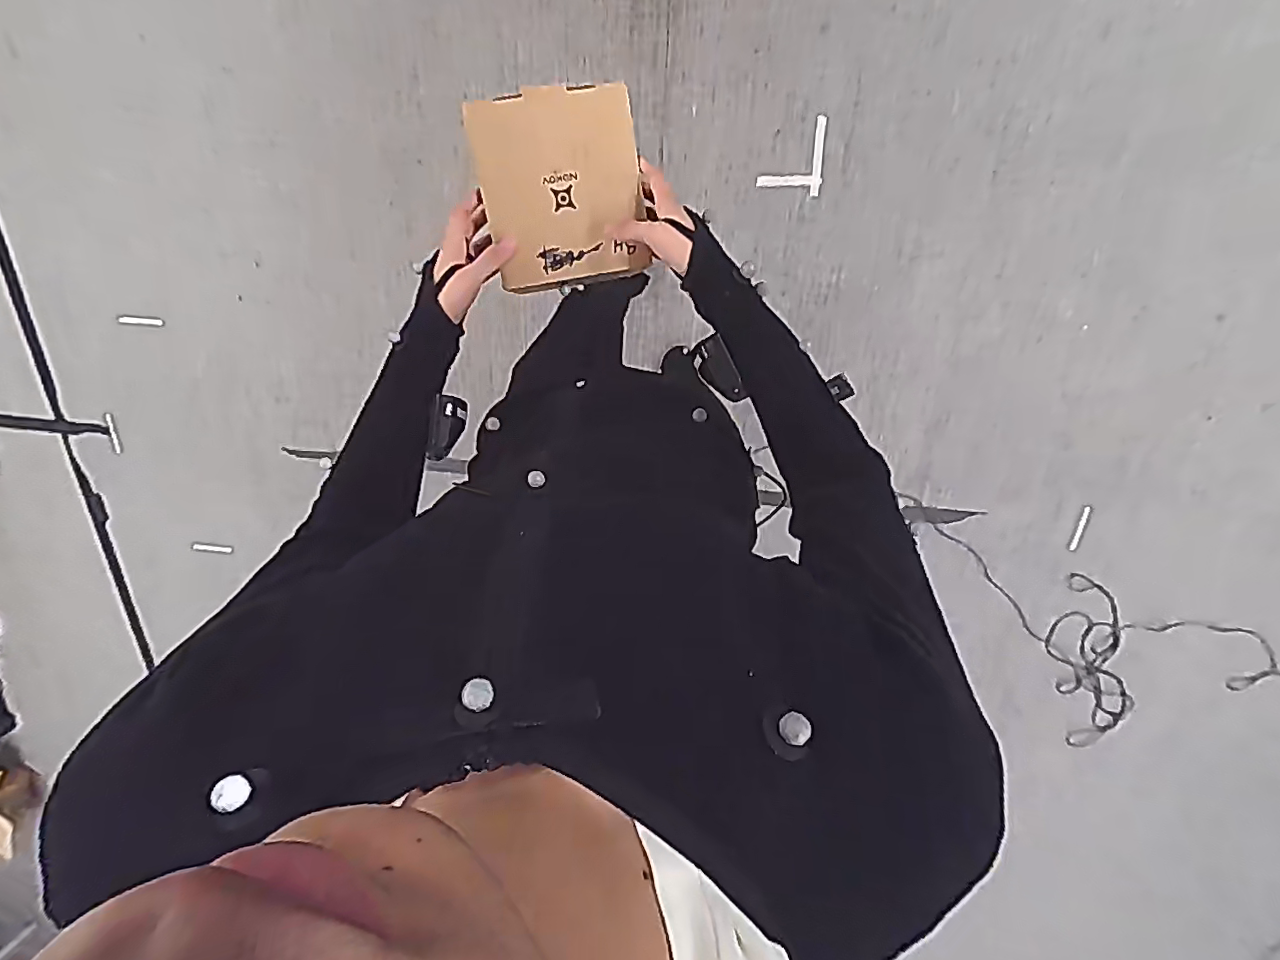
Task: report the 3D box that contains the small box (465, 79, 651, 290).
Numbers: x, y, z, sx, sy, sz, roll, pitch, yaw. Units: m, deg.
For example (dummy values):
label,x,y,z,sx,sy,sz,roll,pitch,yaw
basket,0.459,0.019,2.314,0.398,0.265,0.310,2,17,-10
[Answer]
label,x,y,z,sx,sy,sz,roll,pitch,yaw
small box,-0.090,-0.325,0.629,0.168,0.176,0.179,-11,109,-4
